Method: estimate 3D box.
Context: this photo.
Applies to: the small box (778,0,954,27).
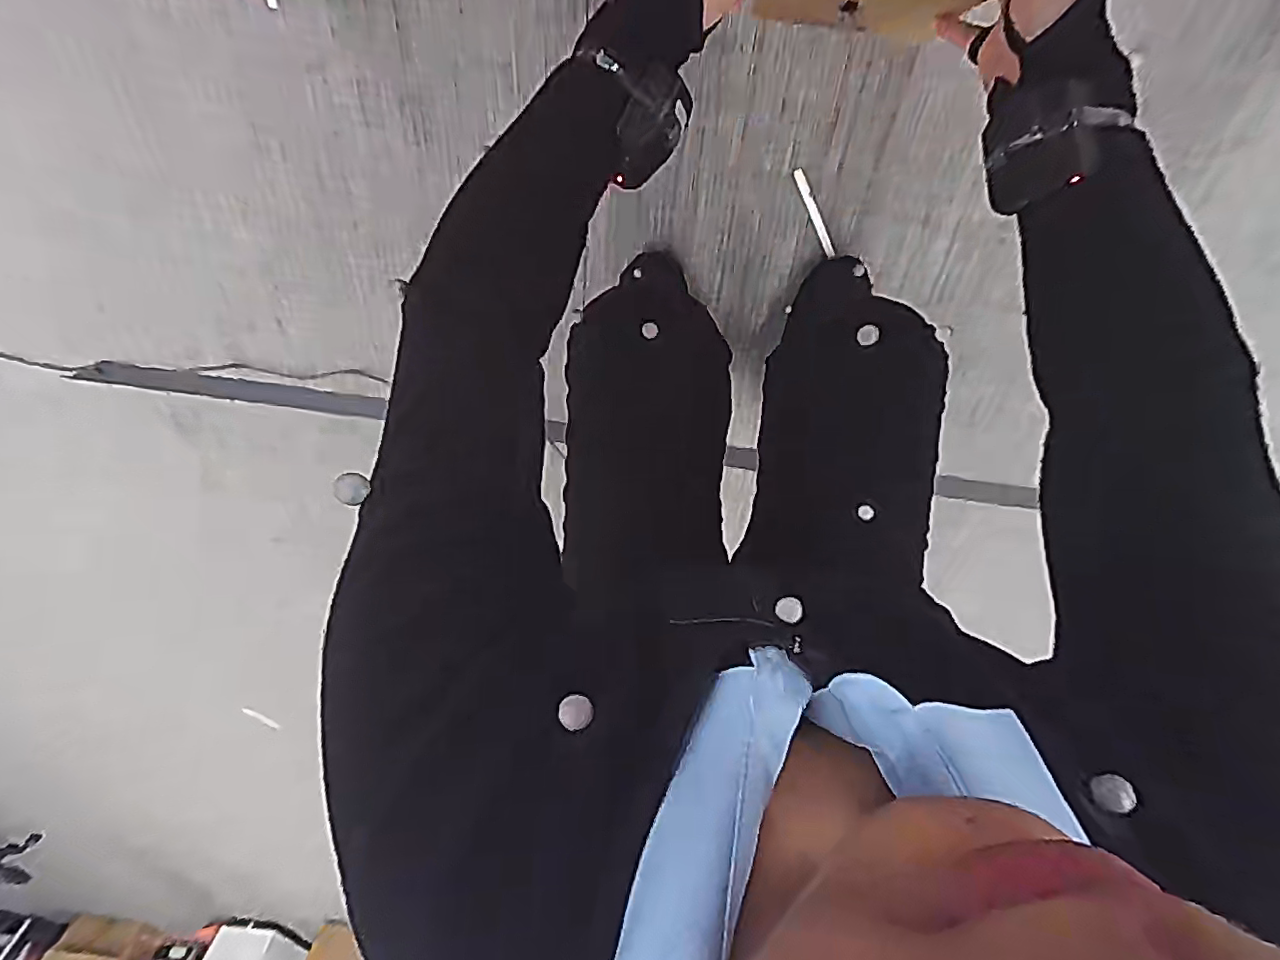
[{"bbox_3d":[0.196,-0.477,0.408,0.168,0.176,0.179,8,119,-2],"label":"small box"}]
